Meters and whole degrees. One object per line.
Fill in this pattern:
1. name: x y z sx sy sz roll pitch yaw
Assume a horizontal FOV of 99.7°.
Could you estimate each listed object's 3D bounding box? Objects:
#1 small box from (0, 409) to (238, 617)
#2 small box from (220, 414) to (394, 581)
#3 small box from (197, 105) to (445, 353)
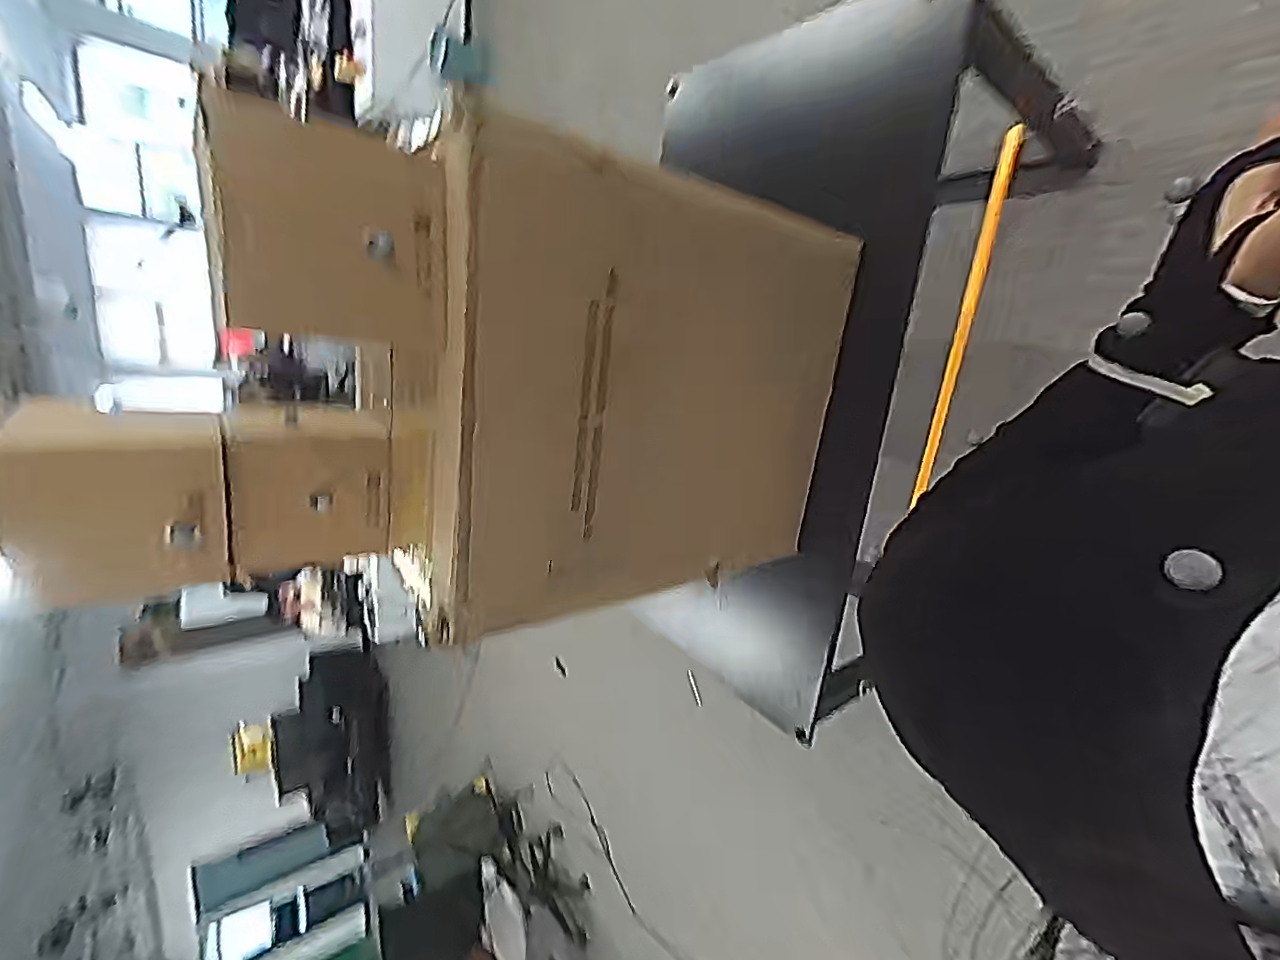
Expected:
1. small box: -0.548 0.022 0.588 0.179 0.176 0.168 26 114 47
2. small box: -0.430 0.009 0.702 0.179 0.176 0.168 24 111 48
3. small box: -0.295 -0.209 0.505 0.179 0.176 0.168 19 111 47
